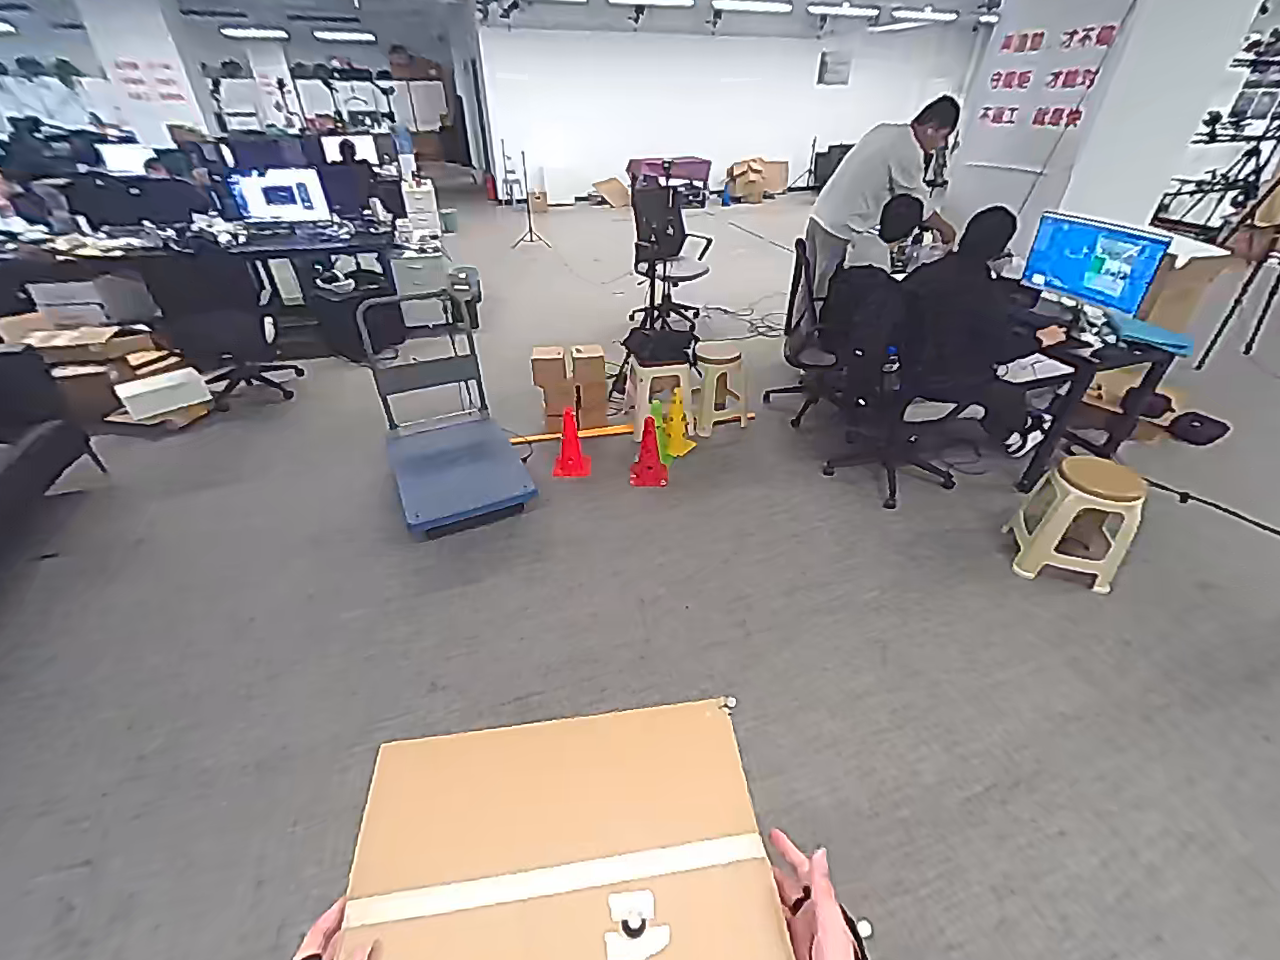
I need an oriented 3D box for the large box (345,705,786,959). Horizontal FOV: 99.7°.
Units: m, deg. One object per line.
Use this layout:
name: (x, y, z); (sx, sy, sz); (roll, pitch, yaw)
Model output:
large box: (-0.077, 0.509, 0.630); (0.408, 0.320, 0.320); (-6, 42, -6)
